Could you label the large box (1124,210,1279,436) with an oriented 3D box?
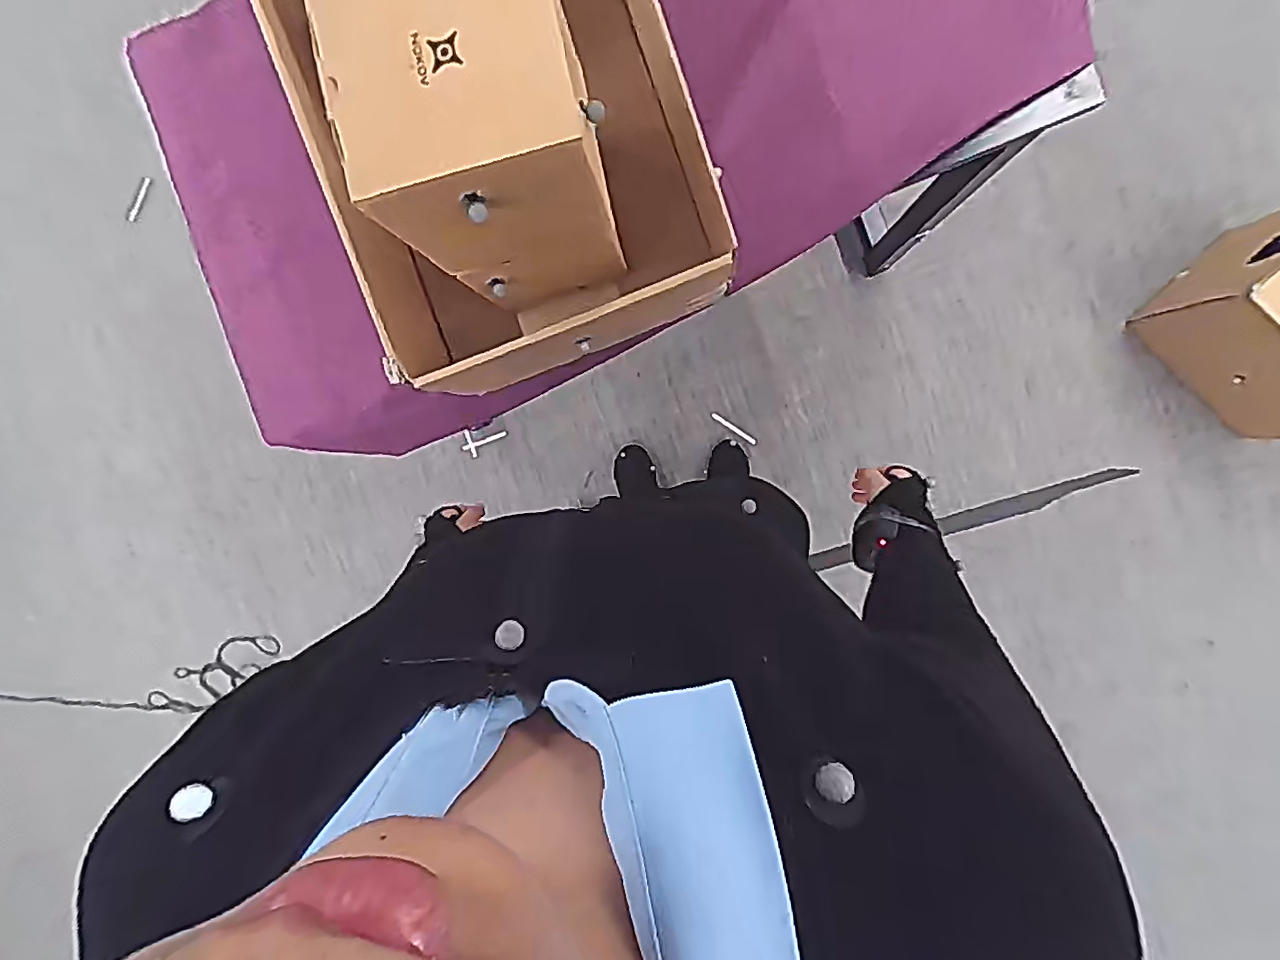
[{"bbox_3d":[1.411,-0.335,1.155,0.408,0.320,0.320,44,97,2],"label":"large box"}]
